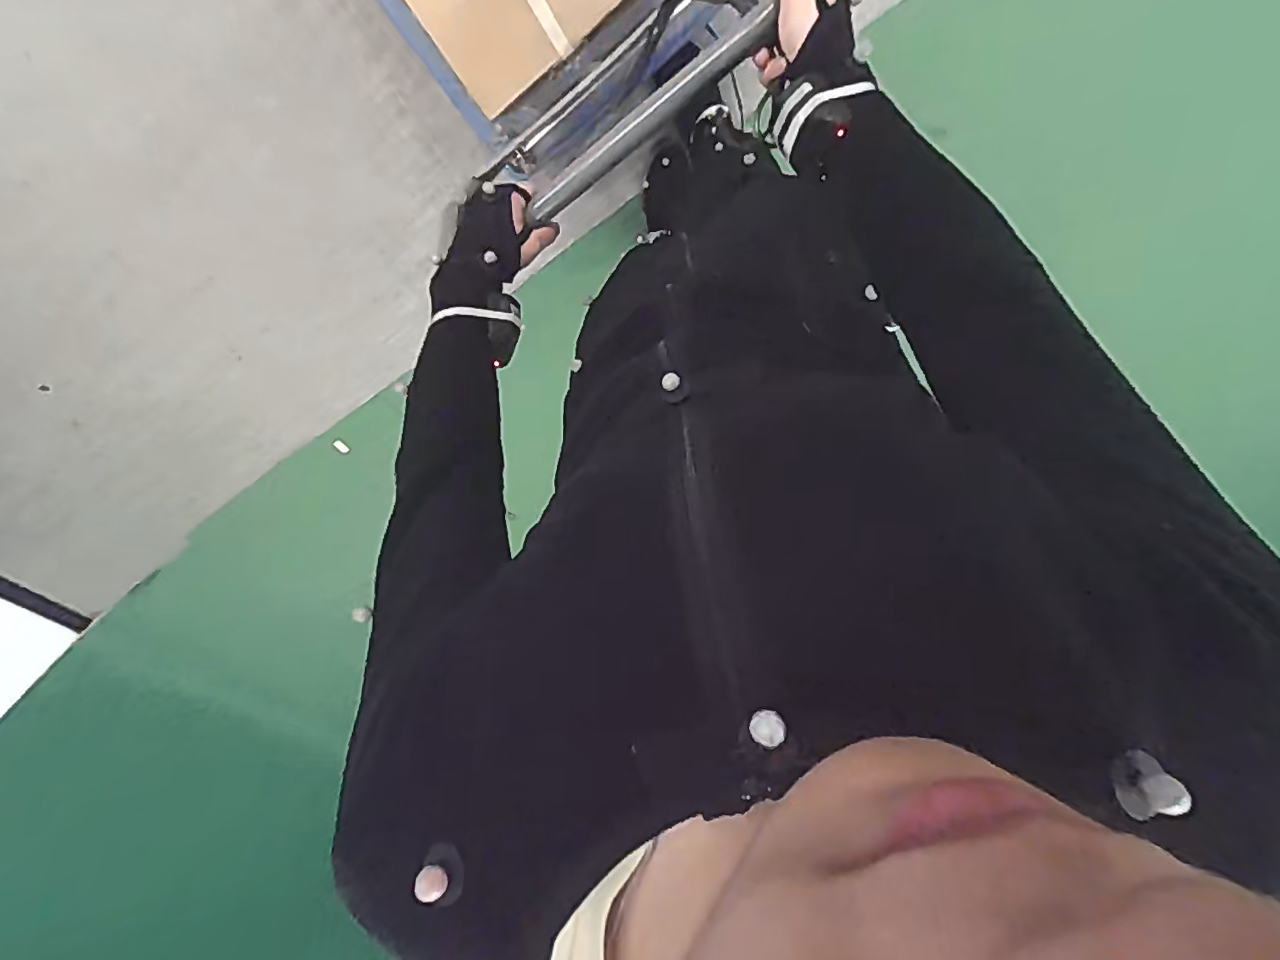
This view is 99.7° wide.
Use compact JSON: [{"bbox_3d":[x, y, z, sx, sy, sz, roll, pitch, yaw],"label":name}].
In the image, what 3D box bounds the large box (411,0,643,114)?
[{"bbox_3d":[-0.213,-0.868,0.828,0.320,0.320,0.408,-27,123,21],"label":"large box"}]
